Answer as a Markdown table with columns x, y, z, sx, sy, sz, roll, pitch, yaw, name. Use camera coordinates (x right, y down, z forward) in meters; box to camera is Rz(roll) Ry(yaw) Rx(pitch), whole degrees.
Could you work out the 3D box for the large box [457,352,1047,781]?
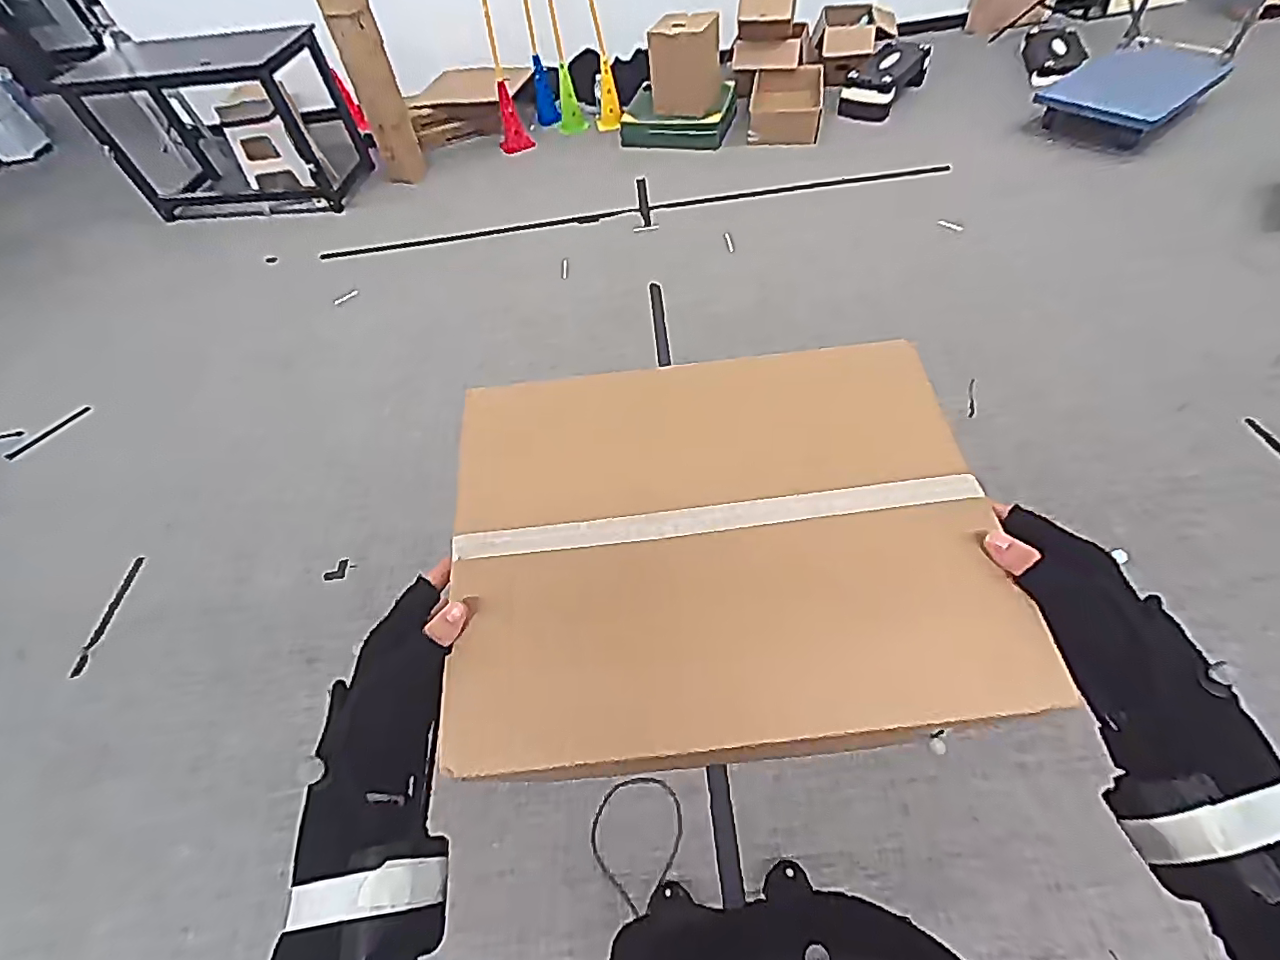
| x | y | z | sx | sy | sz | roll | pitch | yaw | name |
| --- | --- | --- | --- | --- | --- | --- | --- | --- | --- |
| 0.069 | 0.109 | 0.557 | 0.408 | 0.320 | 0.320 | -7 | 60 | 0 | large box |
